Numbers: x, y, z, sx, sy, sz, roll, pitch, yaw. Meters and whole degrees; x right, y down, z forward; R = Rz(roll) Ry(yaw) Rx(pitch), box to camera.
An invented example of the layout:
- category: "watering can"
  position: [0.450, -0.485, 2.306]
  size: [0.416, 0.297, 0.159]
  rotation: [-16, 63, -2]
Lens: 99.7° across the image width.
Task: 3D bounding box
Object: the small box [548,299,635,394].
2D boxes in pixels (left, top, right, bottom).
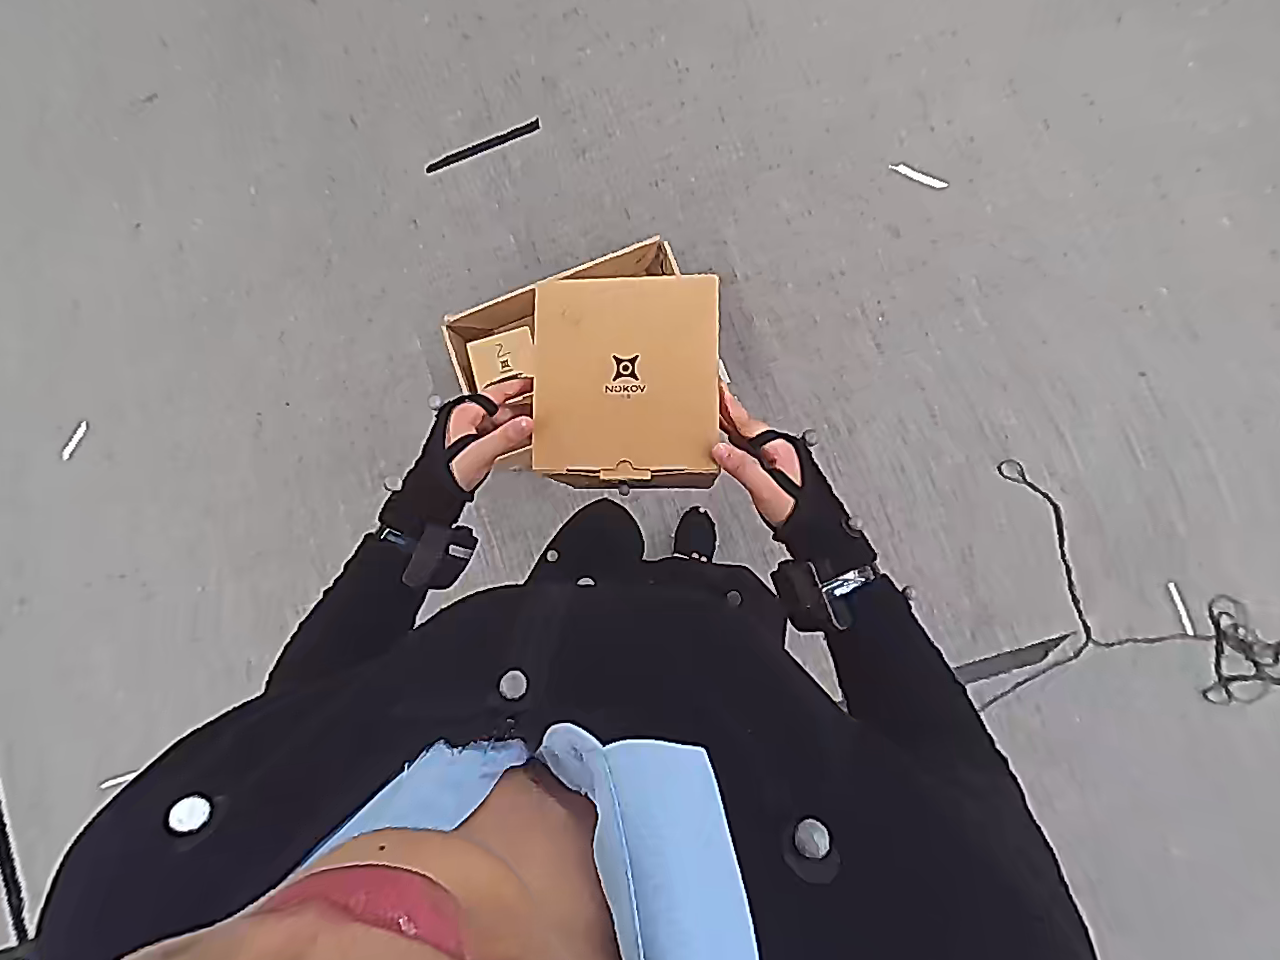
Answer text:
- category: "small box"
  position: [-0.118, -0.337, 1.408]
  size: [0.168, 0.176, 0.179]
  rotation: [-21, 86, 3]
